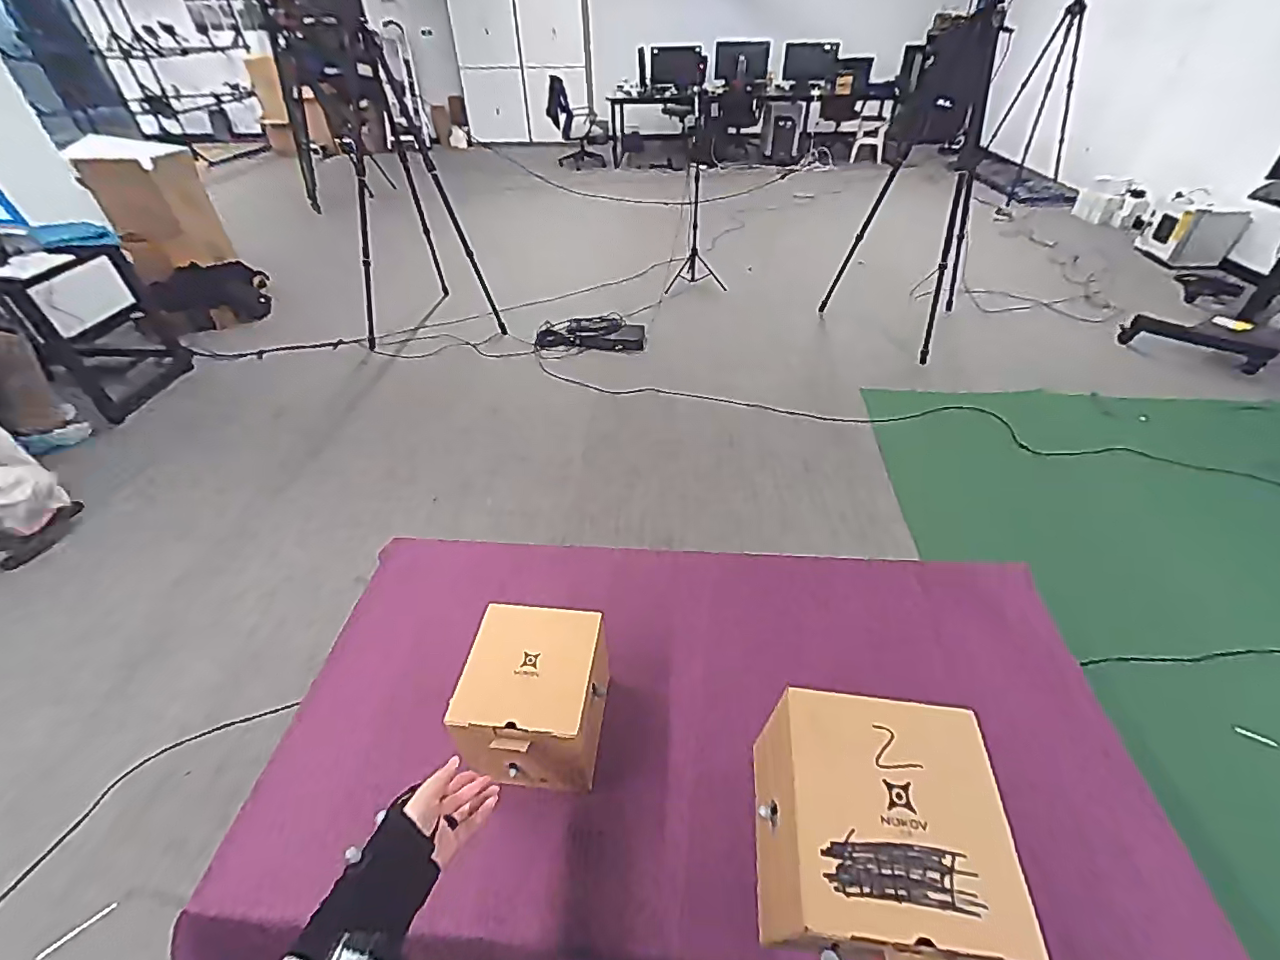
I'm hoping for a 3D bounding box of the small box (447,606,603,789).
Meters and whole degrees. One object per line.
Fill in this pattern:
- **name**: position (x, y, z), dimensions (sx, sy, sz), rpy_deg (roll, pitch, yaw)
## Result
- **small box**: position (-0.147, 0.306, 0.766), dimensions (0.168, 0.176, 0.179), rpy_deg (4, 42, 6)
